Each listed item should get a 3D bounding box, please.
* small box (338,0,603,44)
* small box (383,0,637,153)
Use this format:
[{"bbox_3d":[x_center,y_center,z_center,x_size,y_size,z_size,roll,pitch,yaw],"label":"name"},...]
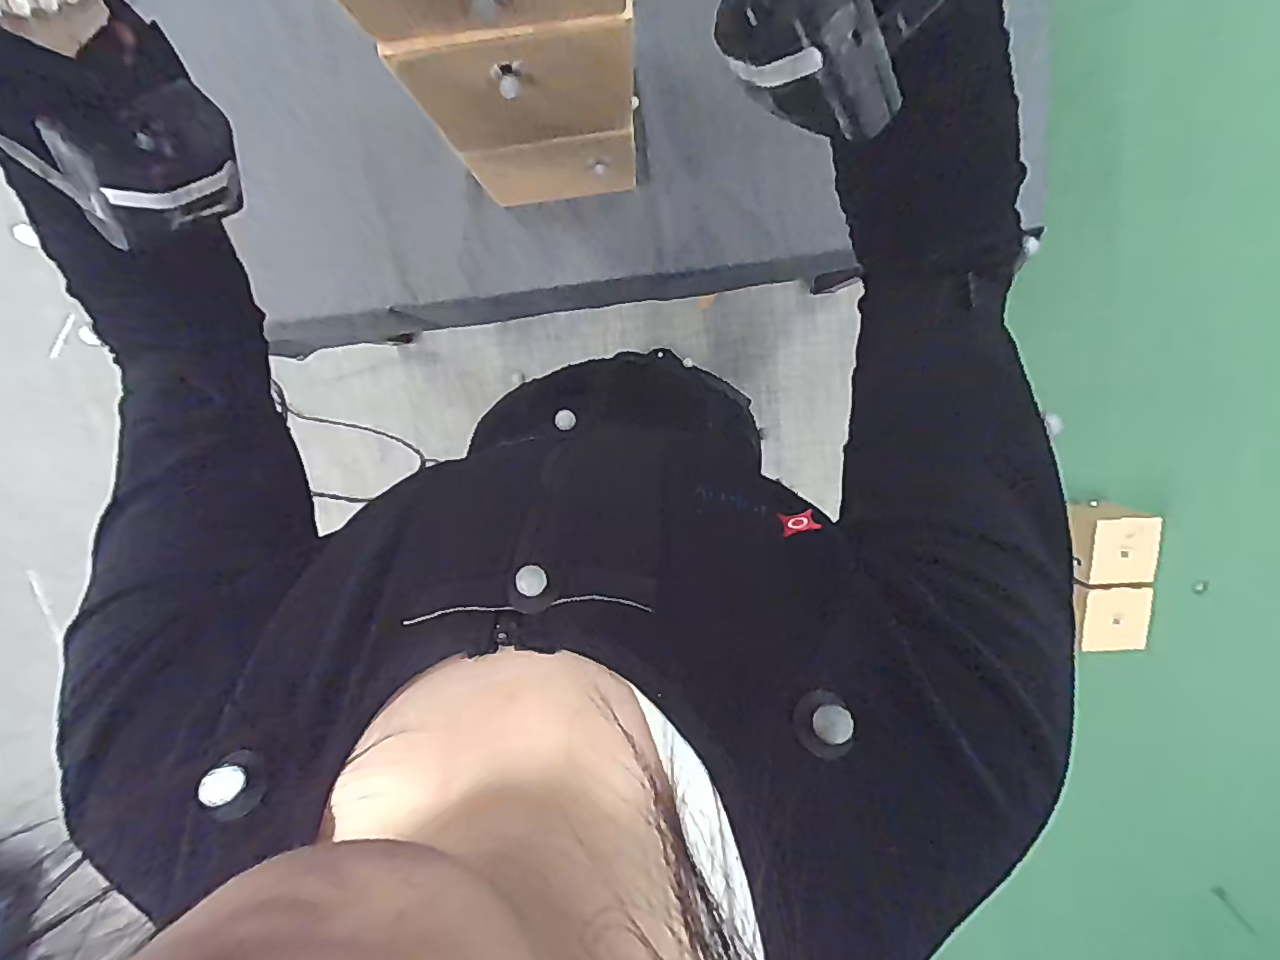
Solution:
[{"bbox_3d":[-0.102,-0.362,0.270,0.179,0.176,0.168,-6,100,0],"label":"small box"},{"bbox_3d":[-0.099,-0.390,0.433,0.179,0.176,0.168,-8,101,2],"label":"small box"}]
